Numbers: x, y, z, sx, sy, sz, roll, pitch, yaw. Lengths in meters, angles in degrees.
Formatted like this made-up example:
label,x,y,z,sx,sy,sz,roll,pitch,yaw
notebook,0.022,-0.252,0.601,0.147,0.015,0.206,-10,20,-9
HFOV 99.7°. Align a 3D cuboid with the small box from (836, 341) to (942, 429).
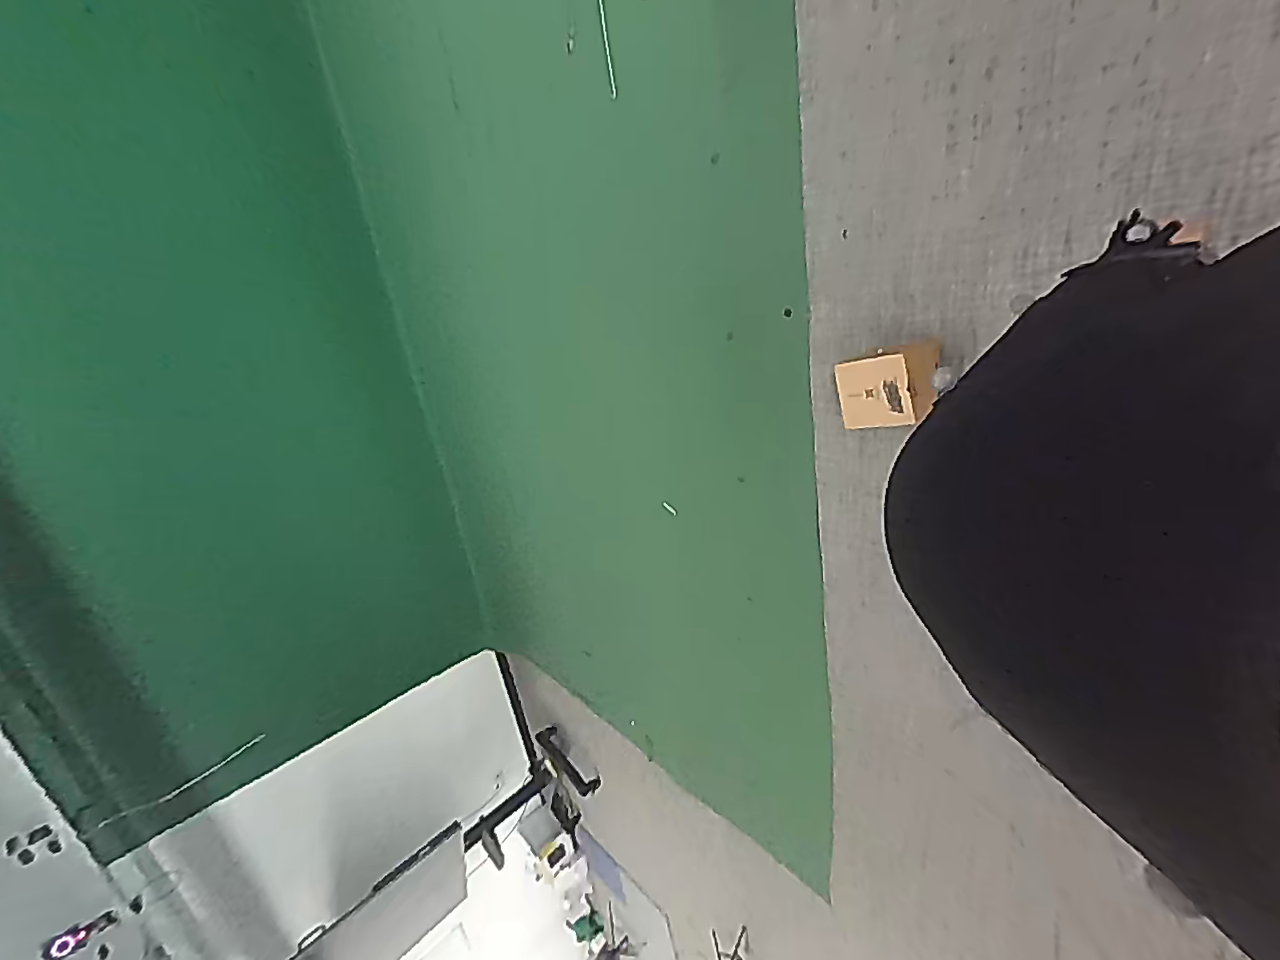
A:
label,x,y,z,sx,sy,sz,roll,pitch,yaw
small box,0.610,-0.230,1.311,0.179,0.176,0.168,1,110,52
